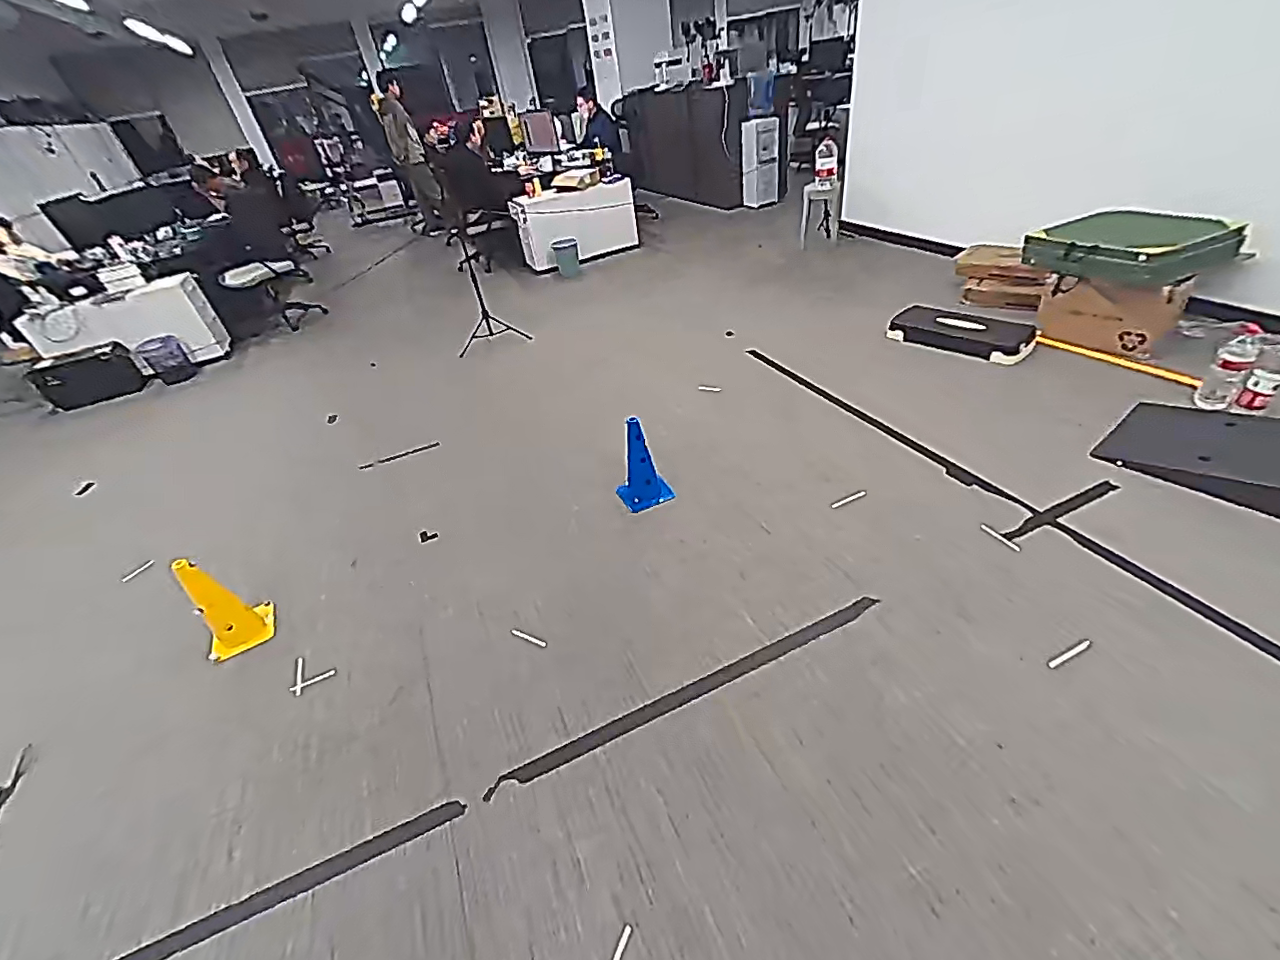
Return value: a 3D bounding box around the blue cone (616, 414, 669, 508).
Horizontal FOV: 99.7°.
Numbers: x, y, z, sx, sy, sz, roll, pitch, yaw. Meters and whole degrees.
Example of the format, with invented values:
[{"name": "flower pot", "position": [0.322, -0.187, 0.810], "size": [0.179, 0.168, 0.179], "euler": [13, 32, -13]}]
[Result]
[{"name": "blue cone", "position": [-0.012, -0.086, 2.138], "size": [0.193, 0.380, 0.192], "euler": [-21, 37, -14]}]
